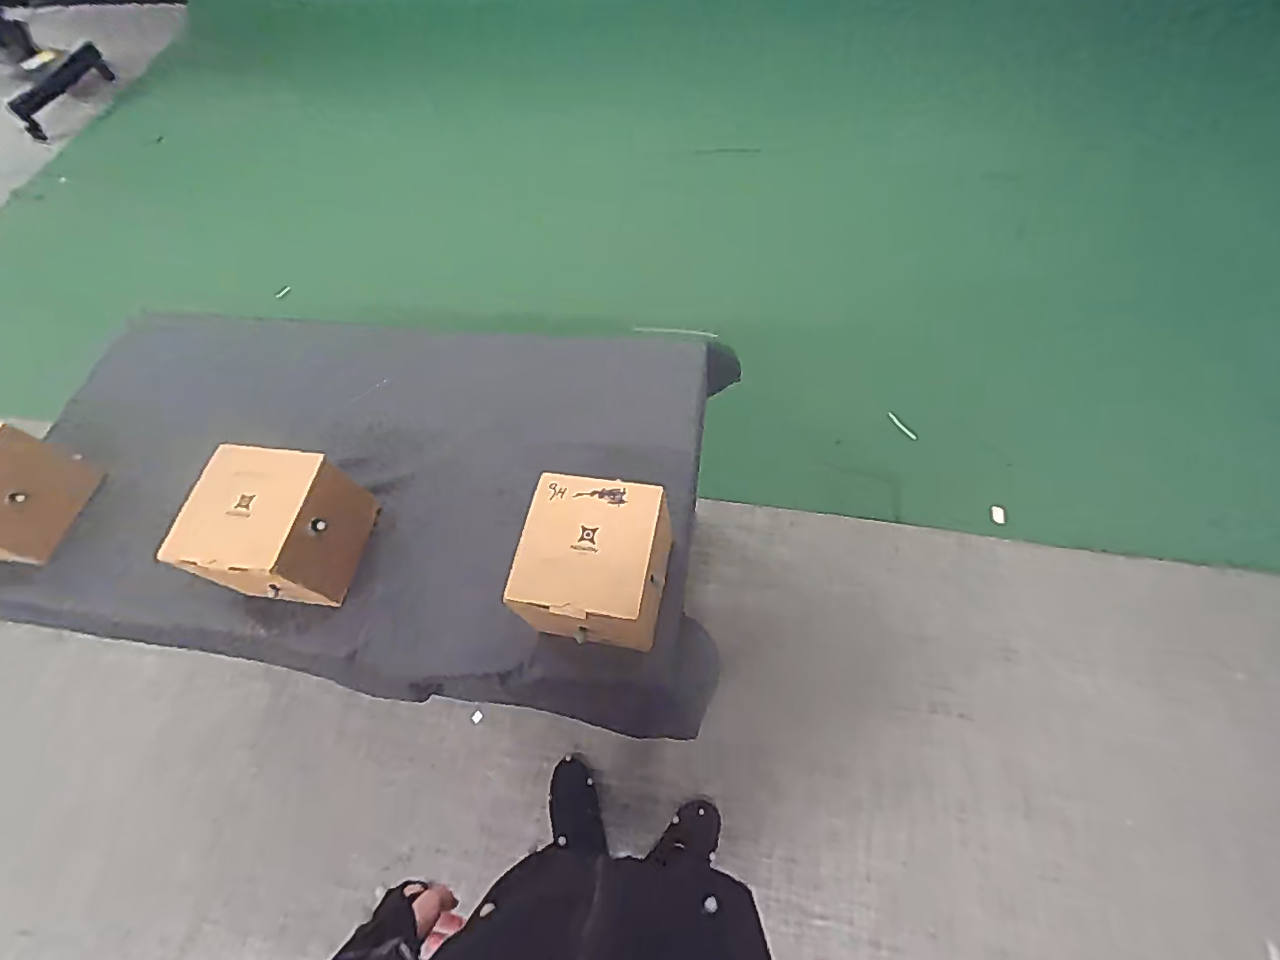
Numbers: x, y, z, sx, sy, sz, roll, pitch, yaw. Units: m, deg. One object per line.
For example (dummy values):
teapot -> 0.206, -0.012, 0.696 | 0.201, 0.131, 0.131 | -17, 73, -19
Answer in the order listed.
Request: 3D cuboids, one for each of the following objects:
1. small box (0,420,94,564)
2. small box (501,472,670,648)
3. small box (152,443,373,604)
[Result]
small box -> -1.038, 0.015, 0.851 | 0.168, 0.176, 0.179 | 6, 63, 7
small box -> -0.056, 0.112, 0.715 | 0.168, 0.176, 0.179 | 7, 63, 11
small box -> -0.523, 0.069, 0.784 | 0.168, 0.176, 0.179 | 6, 61, 6
